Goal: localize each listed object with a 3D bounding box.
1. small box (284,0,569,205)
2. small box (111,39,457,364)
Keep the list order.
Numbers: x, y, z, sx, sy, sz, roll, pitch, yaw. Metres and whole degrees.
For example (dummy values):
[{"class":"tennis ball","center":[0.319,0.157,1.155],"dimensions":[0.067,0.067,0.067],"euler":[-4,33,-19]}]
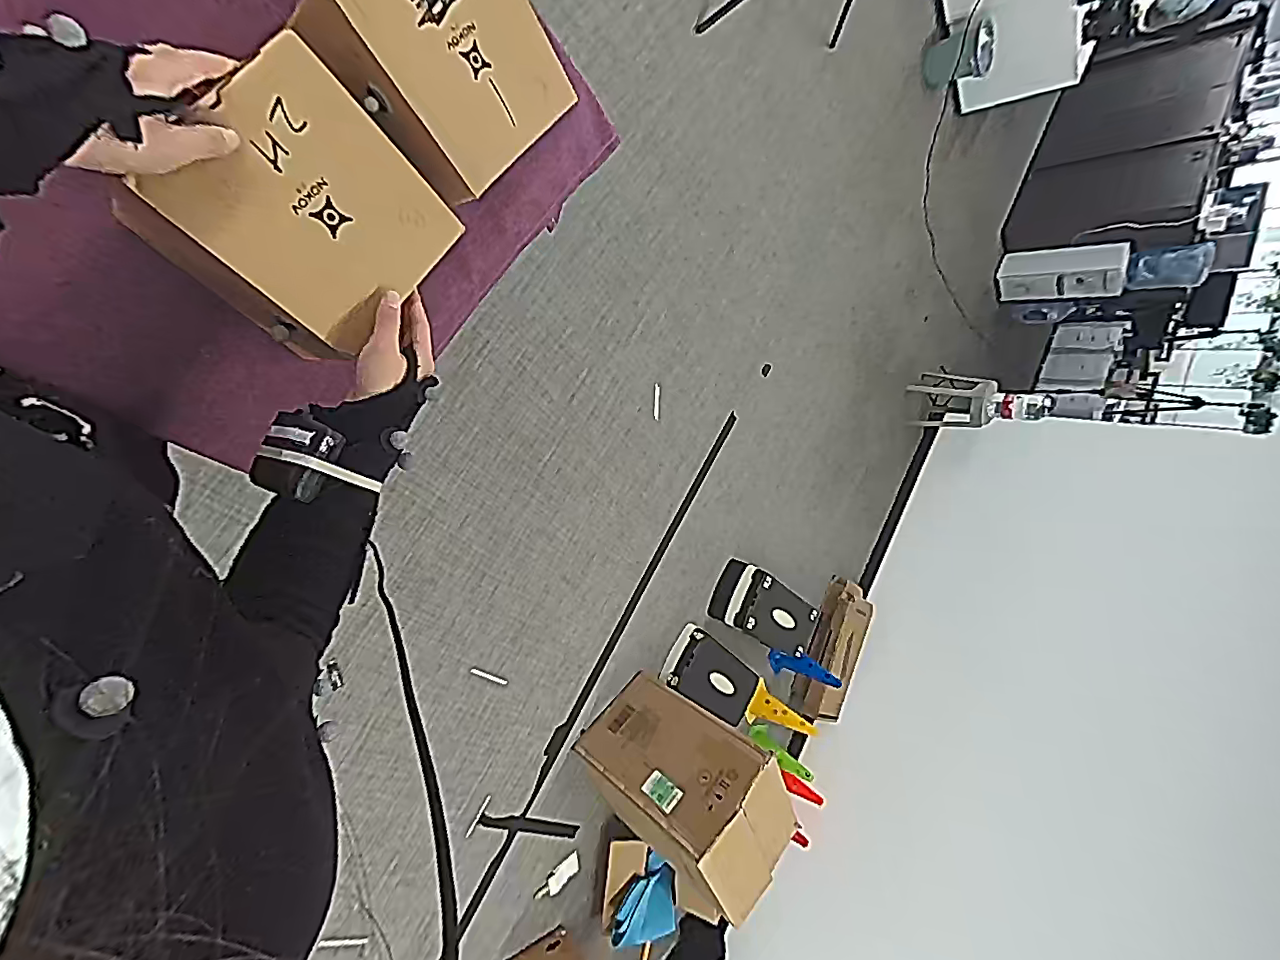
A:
[{"class":"small box","center":[-0.213,-0.396,0.537],"dimensions":[0.168,0.176,0.179],"euler":[-54,134,-18]},{"class":"small box","center":[-0.309,-0.227,0.482],"dimensions":[0.168,0.176,0.179],"euler":[-57,133,-17]}]
